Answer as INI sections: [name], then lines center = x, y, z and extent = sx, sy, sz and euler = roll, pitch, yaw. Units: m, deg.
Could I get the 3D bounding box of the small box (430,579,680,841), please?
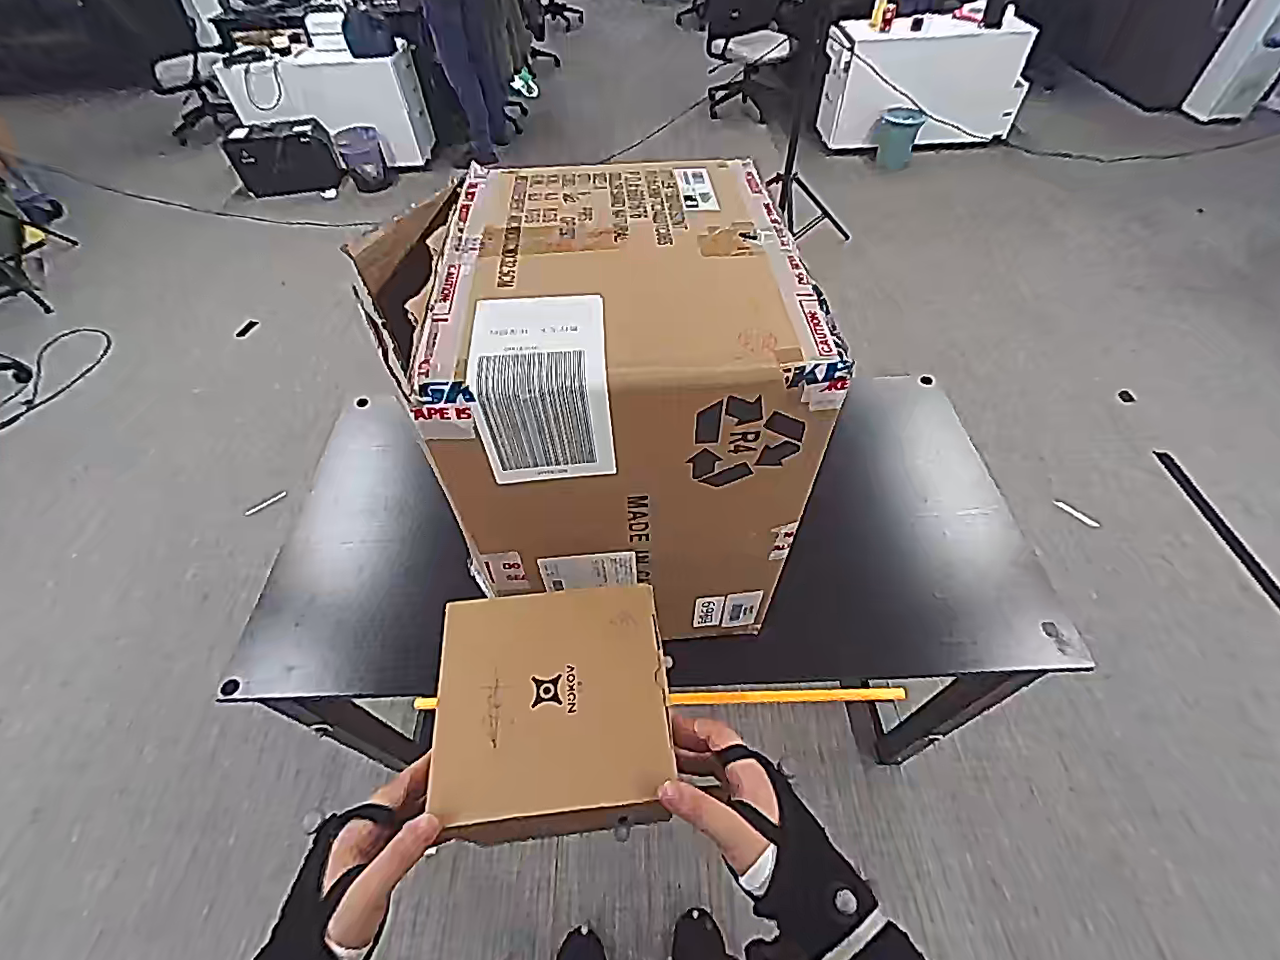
[small box]
center = -0.067, 0.209, 0.484
extent = 0.179, 0.176, 0.168
euler = -7, 51, -4
